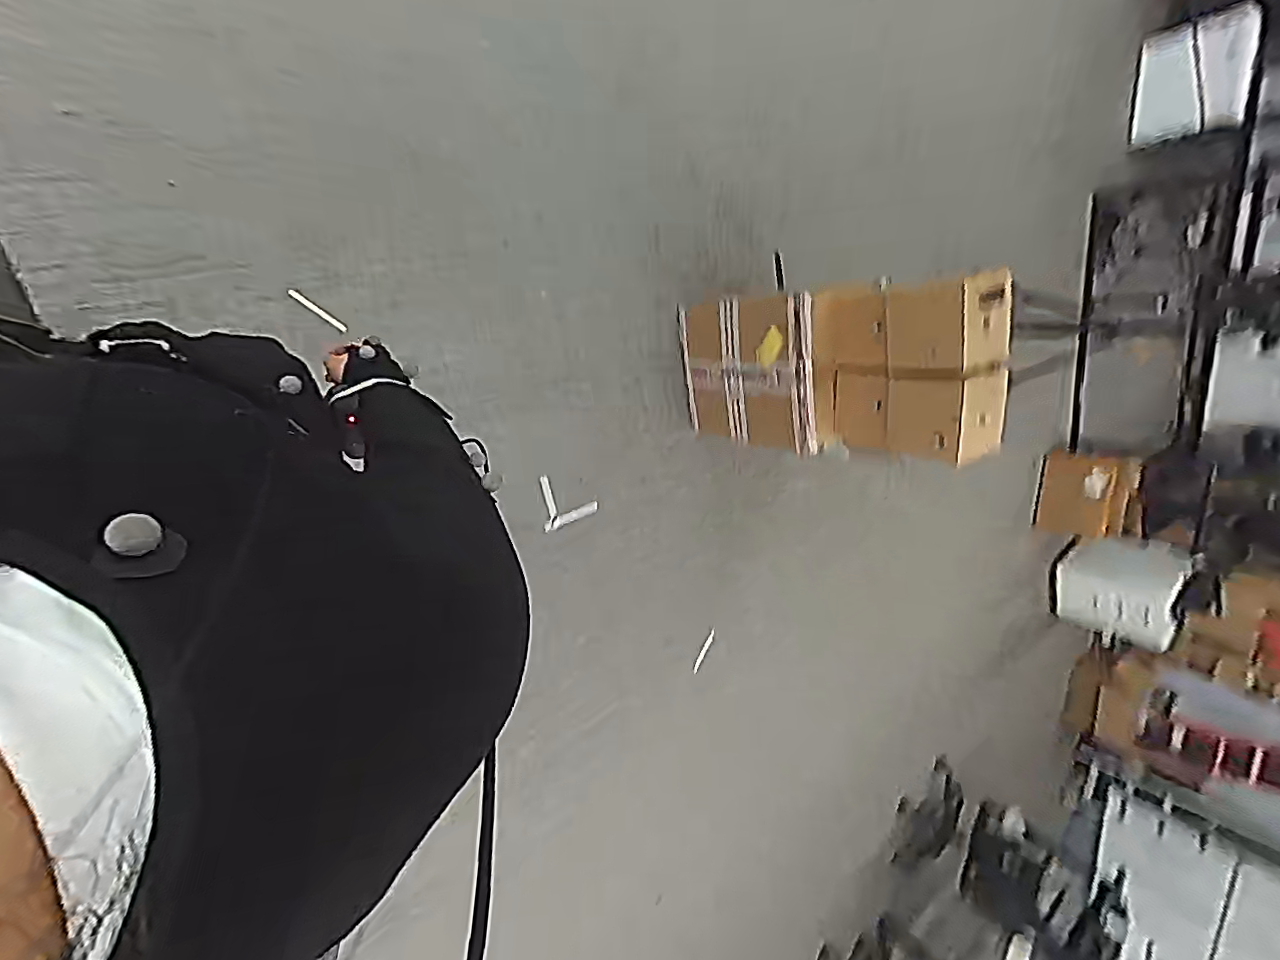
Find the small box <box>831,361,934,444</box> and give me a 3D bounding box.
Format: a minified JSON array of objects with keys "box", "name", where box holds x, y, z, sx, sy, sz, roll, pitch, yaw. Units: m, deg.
[{"box":[0.596,-0.200,1.341,0.168,0.176,0.179,-14,111,-29],"name":"small box"}]
